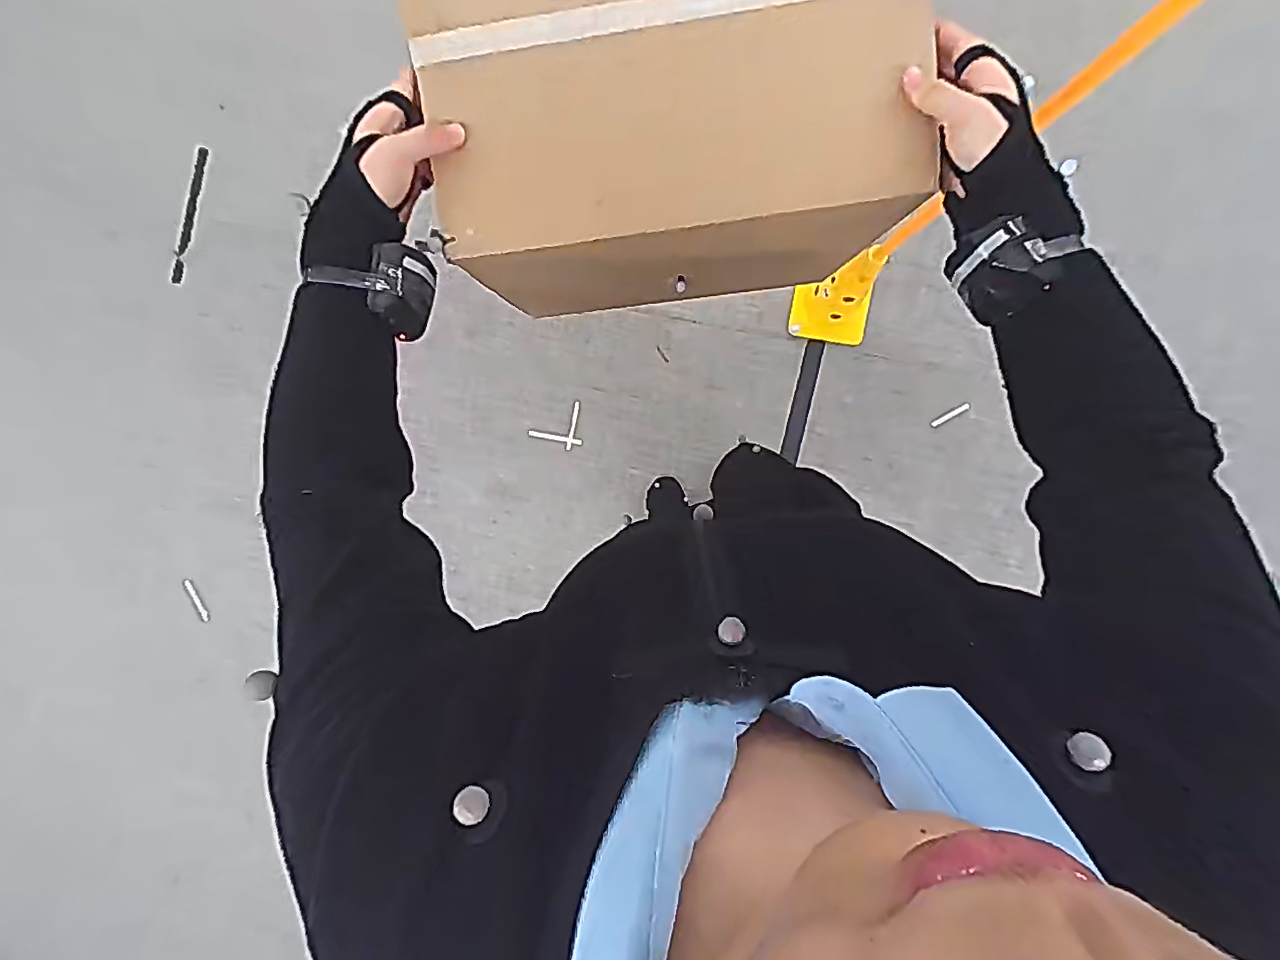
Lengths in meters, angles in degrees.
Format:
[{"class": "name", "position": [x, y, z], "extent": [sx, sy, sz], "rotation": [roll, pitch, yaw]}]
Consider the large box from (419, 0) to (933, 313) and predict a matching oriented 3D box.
[{"class": "large box", "position": [0.032, -0.385, 0.580], "extent": [0.408, 0.320, 0.320], "rotation": [-7, 96, 4]}]
